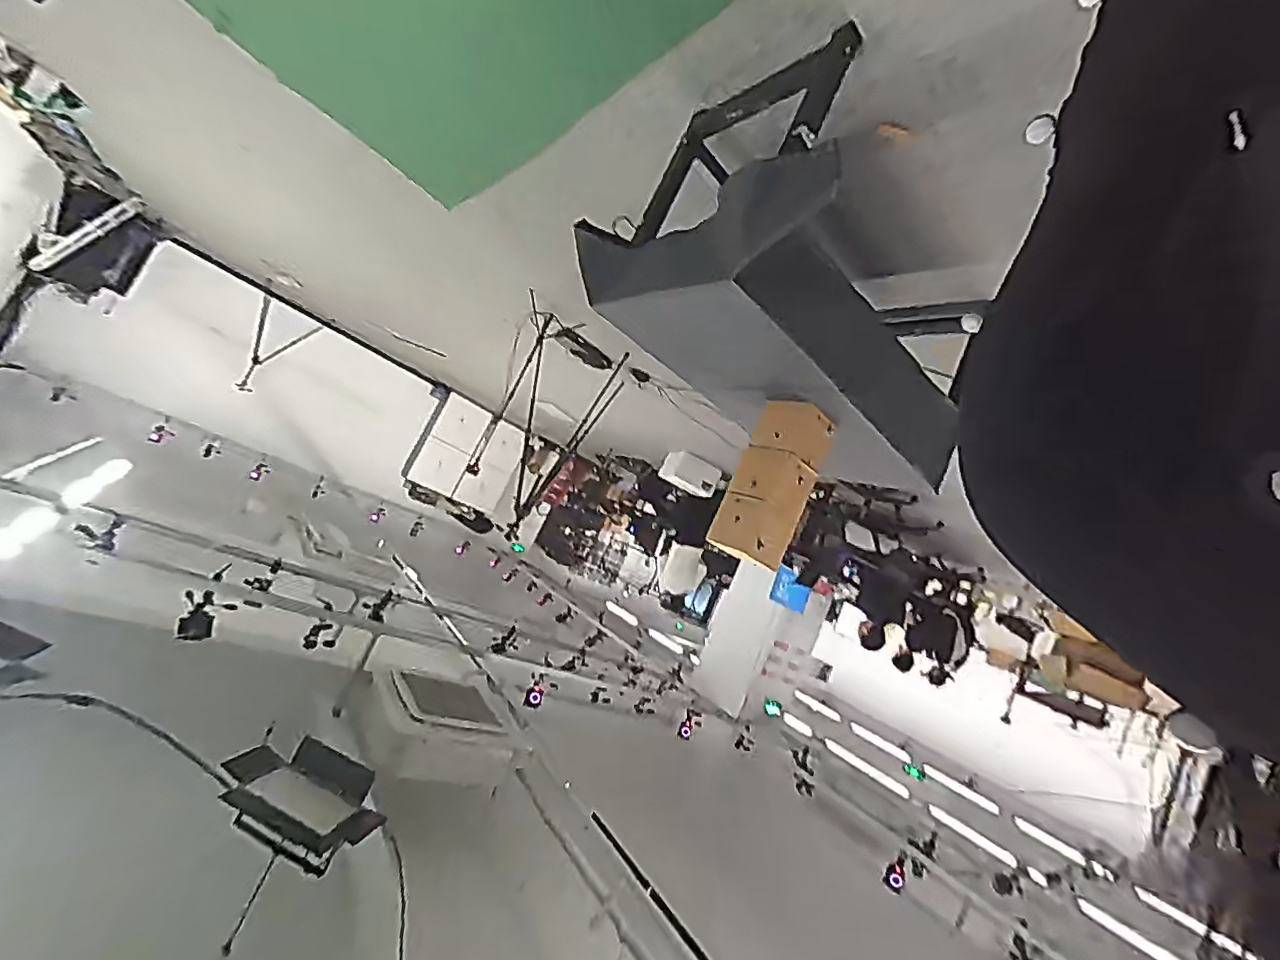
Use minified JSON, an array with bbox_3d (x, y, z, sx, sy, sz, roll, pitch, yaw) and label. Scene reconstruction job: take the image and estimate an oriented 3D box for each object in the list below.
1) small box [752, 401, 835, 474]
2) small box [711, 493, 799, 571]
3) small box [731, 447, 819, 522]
[{"bbox_3d":[0.493,-0.138,1.709,0.168,0.176,0.179,31,172,-35],"label":"small box"},{"bbox_3d":[0.355,0.155,1.662,0.179,0.176,0.168,31,170,-37],"label":"small box"},{"bbox_3d":[0.424,0.007,1.687,0.168,0.176,0.179,31,170,-36],"label":"small box"}]
